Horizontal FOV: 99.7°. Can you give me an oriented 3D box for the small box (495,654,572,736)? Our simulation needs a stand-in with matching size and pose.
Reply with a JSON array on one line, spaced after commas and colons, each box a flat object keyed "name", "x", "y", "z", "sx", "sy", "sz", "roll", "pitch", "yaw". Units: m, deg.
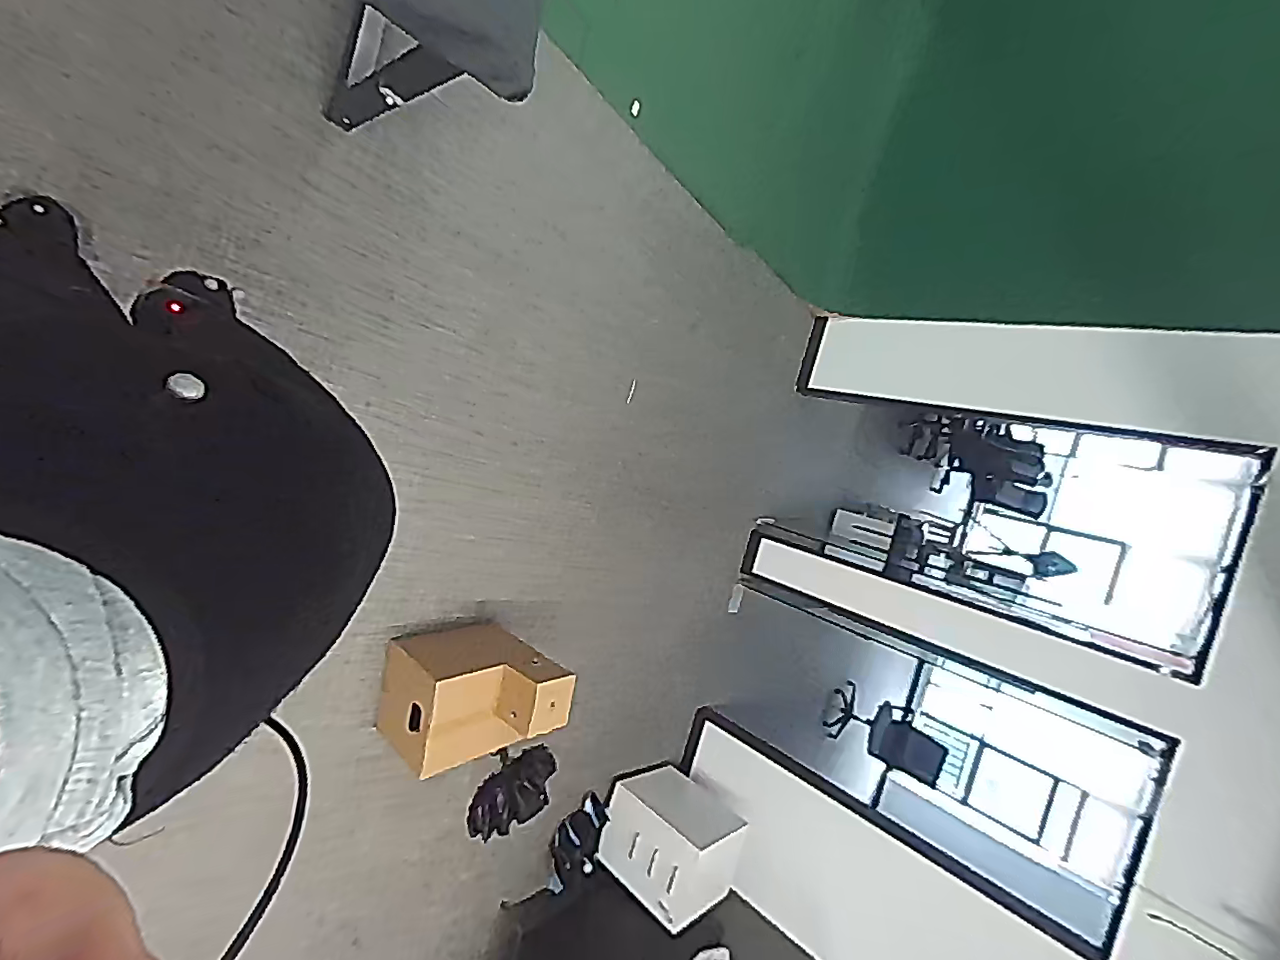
[{"name": "small box", "x": -0.348, "y": 0.686, "z": 1.746, "sx": 0.168, "sy": 0.176, "sz": 0.179, "roll": 7, "pitch": 93, "yaw": -51}]
